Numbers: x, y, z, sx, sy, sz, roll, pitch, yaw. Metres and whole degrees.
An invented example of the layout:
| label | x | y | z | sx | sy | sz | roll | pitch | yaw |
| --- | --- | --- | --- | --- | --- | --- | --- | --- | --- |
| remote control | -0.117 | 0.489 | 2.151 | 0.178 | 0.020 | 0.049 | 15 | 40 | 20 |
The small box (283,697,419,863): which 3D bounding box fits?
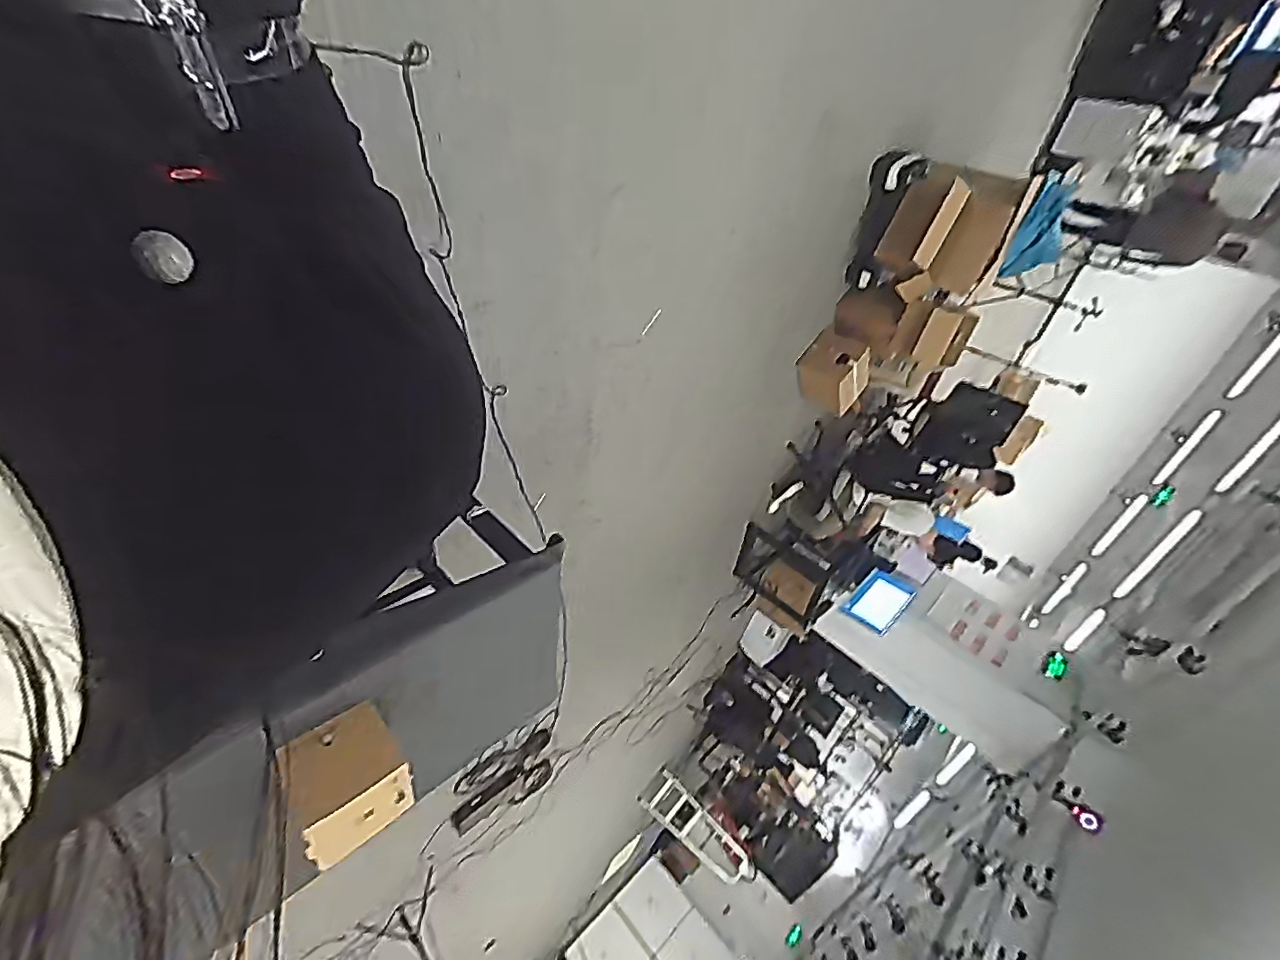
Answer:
| label | x | y | z | sx | sy | sz | roll | pitch | yaw |
| --- | --- | --- | --- | --- | --- | --- | --- | --- | --- |
| small box | -0.543 | 0.554 | 1.016 | 0.179 | 0.176 | 0.168 | -24 | 138 | -39 |
